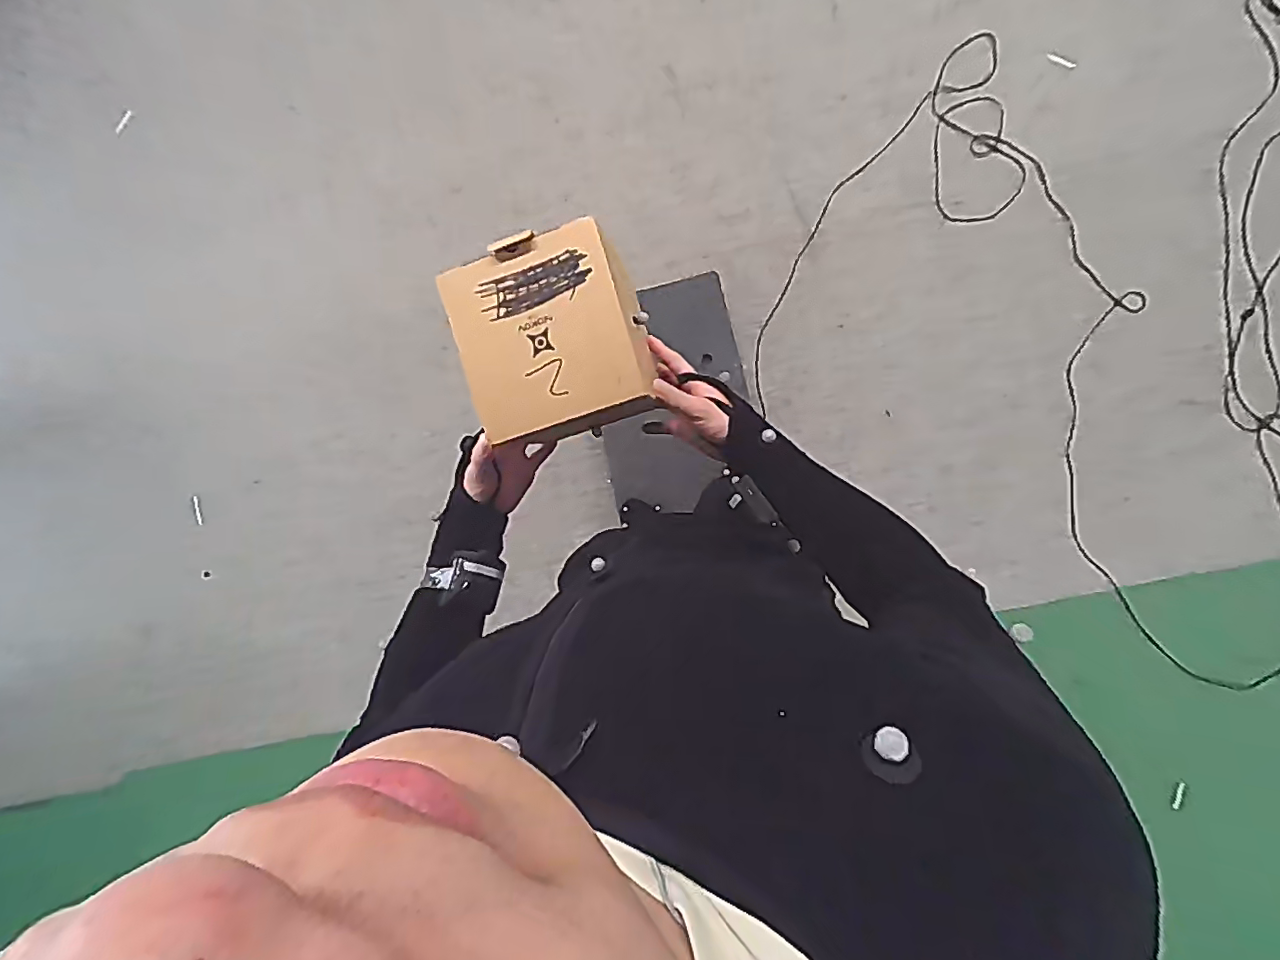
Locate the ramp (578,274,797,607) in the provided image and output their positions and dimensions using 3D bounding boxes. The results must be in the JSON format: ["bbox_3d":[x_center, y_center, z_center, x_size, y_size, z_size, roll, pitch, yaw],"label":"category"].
[{"bbox_3d":[0.126,-0.143,1.704,0.509,0.206,0.991,-15,90,6],"label":"ramp"}]
